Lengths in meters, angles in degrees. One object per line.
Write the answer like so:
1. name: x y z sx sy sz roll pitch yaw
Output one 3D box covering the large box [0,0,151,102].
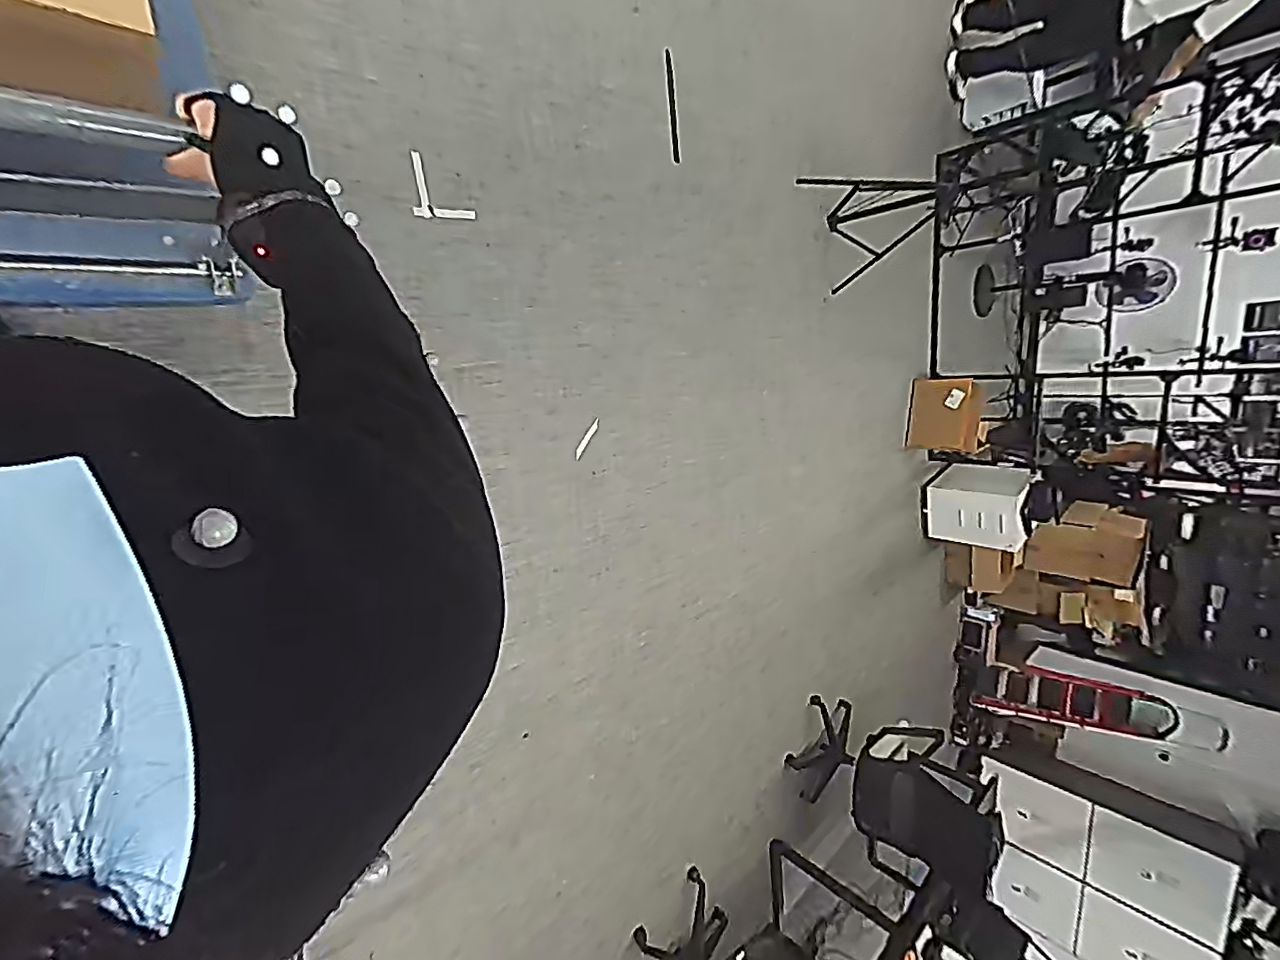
1. large box: -0.920 -0.750 0.683 0.408 0.320 0.320 -13 104 -40
